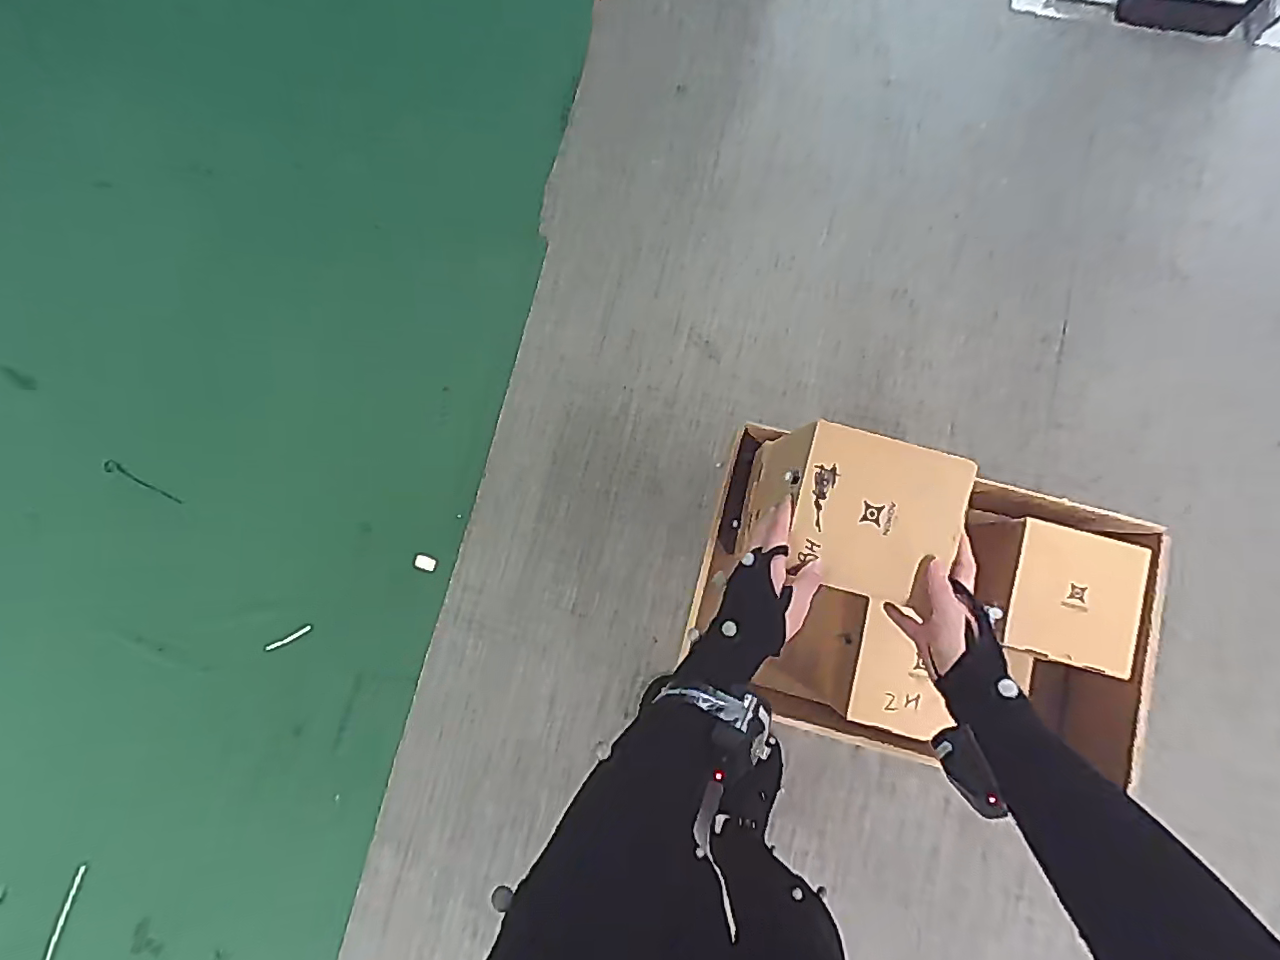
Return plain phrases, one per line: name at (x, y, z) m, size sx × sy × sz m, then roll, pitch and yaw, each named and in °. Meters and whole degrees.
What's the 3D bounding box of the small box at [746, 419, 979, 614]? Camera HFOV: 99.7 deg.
small box at (0.244, 0.041, 0.633) m, size 0.179 × 0.176 × 0.168 m, roll 16°, pitch 86°, yaw -1°
